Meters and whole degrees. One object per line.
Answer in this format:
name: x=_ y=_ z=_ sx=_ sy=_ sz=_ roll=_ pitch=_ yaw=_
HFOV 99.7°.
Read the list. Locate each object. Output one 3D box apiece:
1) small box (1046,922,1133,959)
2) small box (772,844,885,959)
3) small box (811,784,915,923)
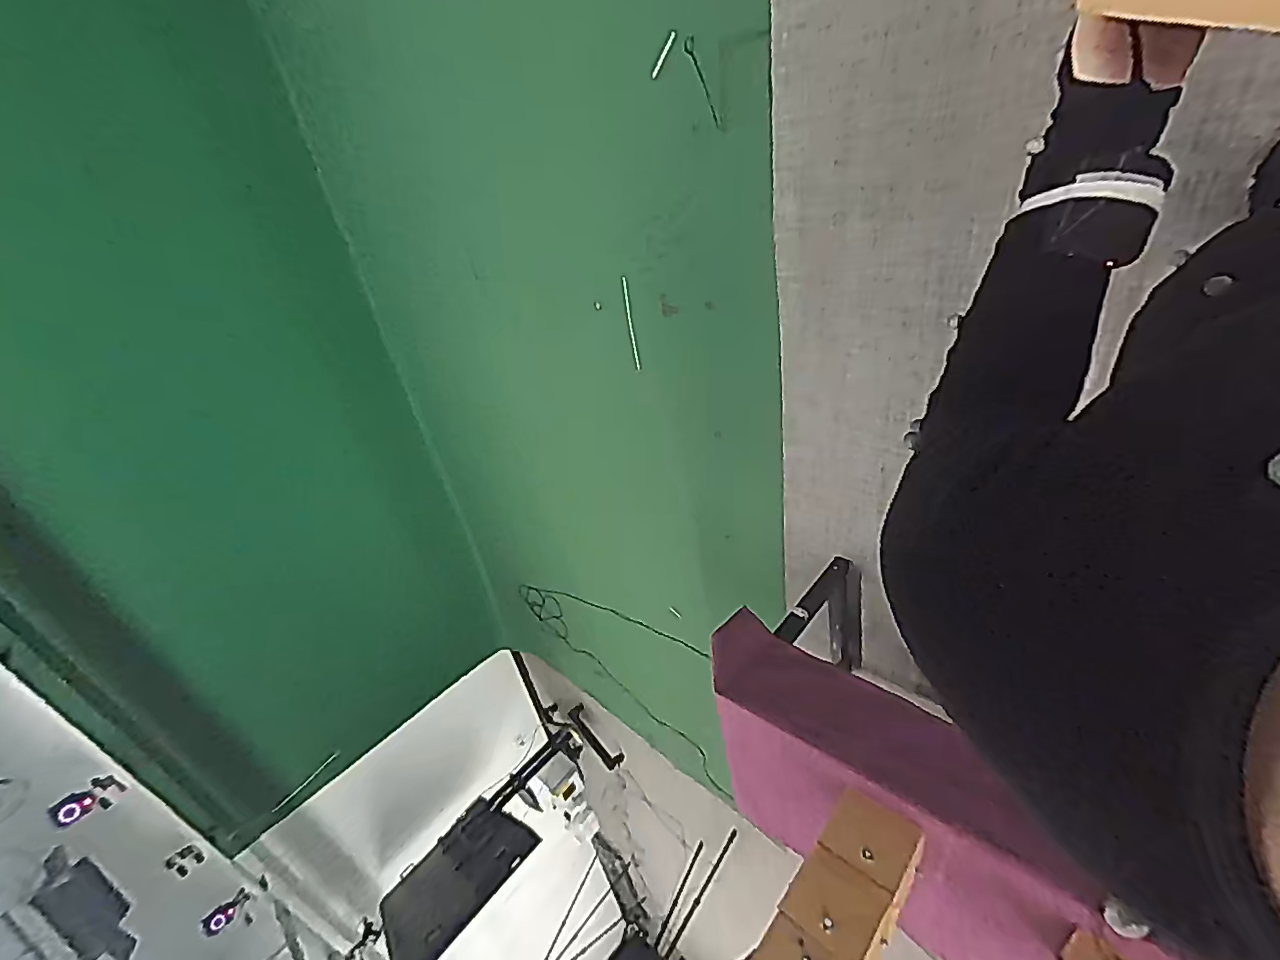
small box: x=0.832 y=0.964 z=0.975 sx=0.168 sy=0.176 sz=0.179 roll=19 pitch=132 yaw=40
small box: x=0.406 y=0.933 z=1.167 sx=0.179 sy=0.176 sz=0.168 roll=17 pitch=130 yaw=40
small box: x=0.518 y=0.856 z=1.257 sx=0.179 sy=0.176 sz=0.168 roll=19 pitch=132 yaw=41
